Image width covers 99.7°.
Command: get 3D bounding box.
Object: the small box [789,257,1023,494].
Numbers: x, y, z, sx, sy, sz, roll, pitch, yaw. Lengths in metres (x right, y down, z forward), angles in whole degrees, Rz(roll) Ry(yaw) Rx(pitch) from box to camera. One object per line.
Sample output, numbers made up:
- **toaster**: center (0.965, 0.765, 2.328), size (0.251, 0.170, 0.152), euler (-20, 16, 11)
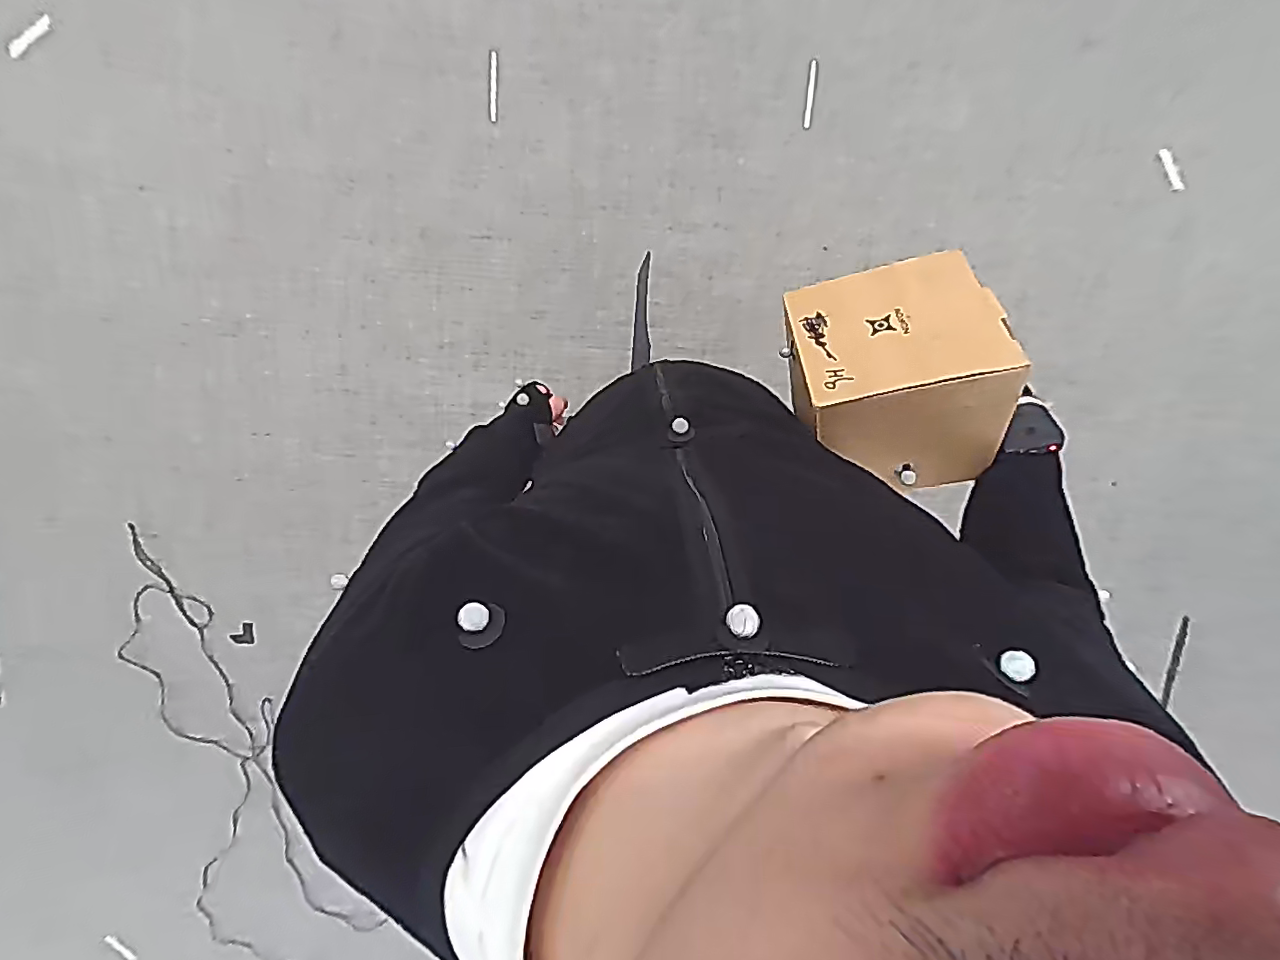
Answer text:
- **small box**: center (0.266, -0.104, 0.588), size (0.179, 0.168, 0.176), euler (-10, 143, 12)
